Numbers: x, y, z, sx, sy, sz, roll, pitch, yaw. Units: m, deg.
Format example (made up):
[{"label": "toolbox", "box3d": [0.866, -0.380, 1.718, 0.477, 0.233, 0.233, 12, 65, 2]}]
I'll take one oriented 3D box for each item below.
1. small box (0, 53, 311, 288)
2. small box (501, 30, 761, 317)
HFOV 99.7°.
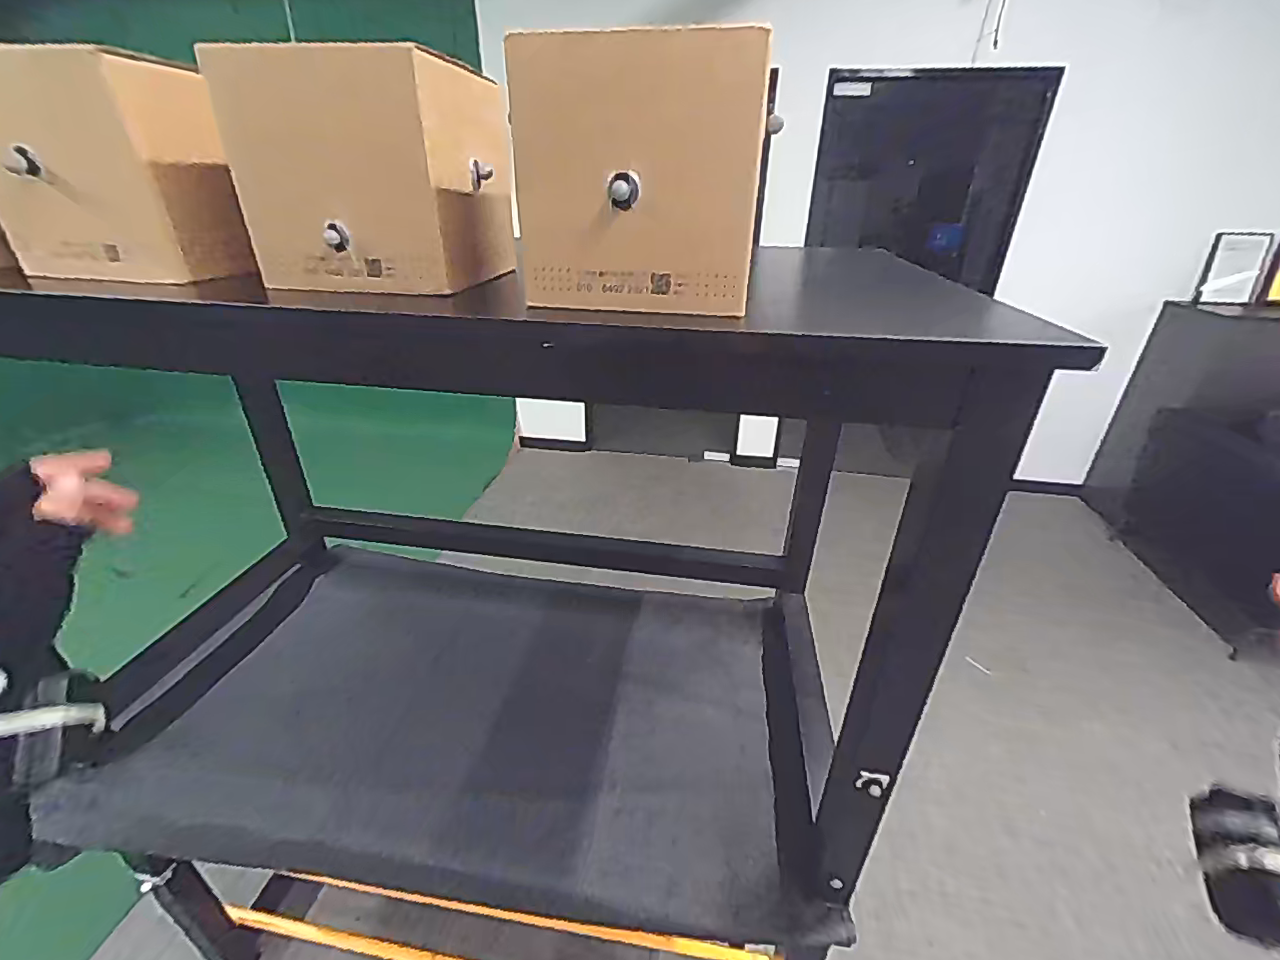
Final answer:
[{"label": "small box", "box3d": [-0.459, -0.284, 0.520, 0.168, 0.176, 0.179, 6, 28, 9]}, {"label": "small box", "box3d": [0.006, -0.235, 0.438, 0.168, 0.176, 0.179, 6, 29, 8]}]
